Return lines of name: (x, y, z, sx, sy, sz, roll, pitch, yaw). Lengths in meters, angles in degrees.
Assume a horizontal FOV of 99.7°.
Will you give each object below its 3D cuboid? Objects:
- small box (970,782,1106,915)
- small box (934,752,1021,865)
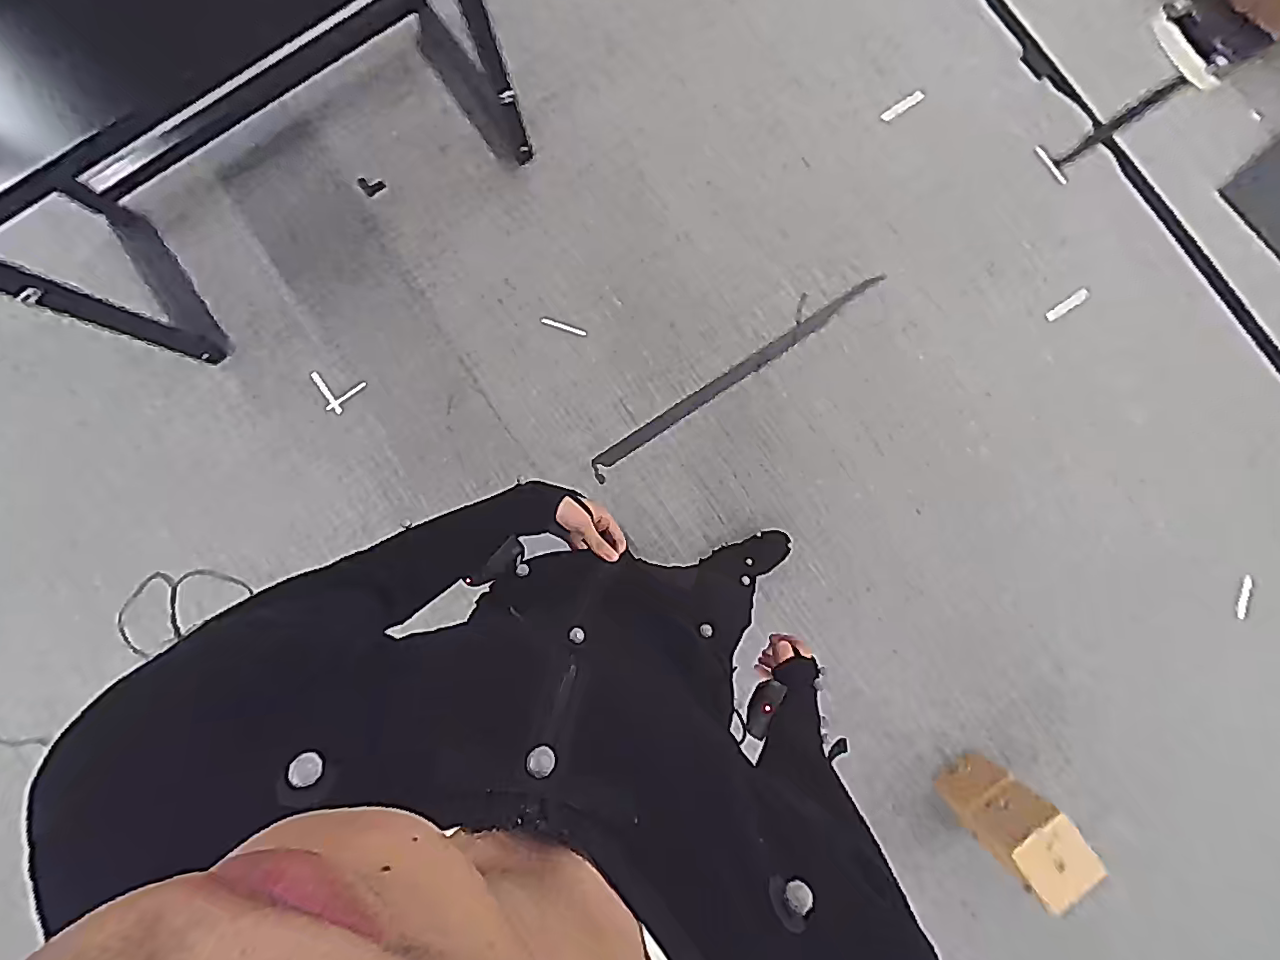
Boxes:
small box: (0.978, 0.903, 1.344, 0.168, 0.176, 0.179, -34, 87, -4)
small box: (0.971, 0.905, 1.508, 0.168, 0.176, 0.179, -34, 88, -3)
